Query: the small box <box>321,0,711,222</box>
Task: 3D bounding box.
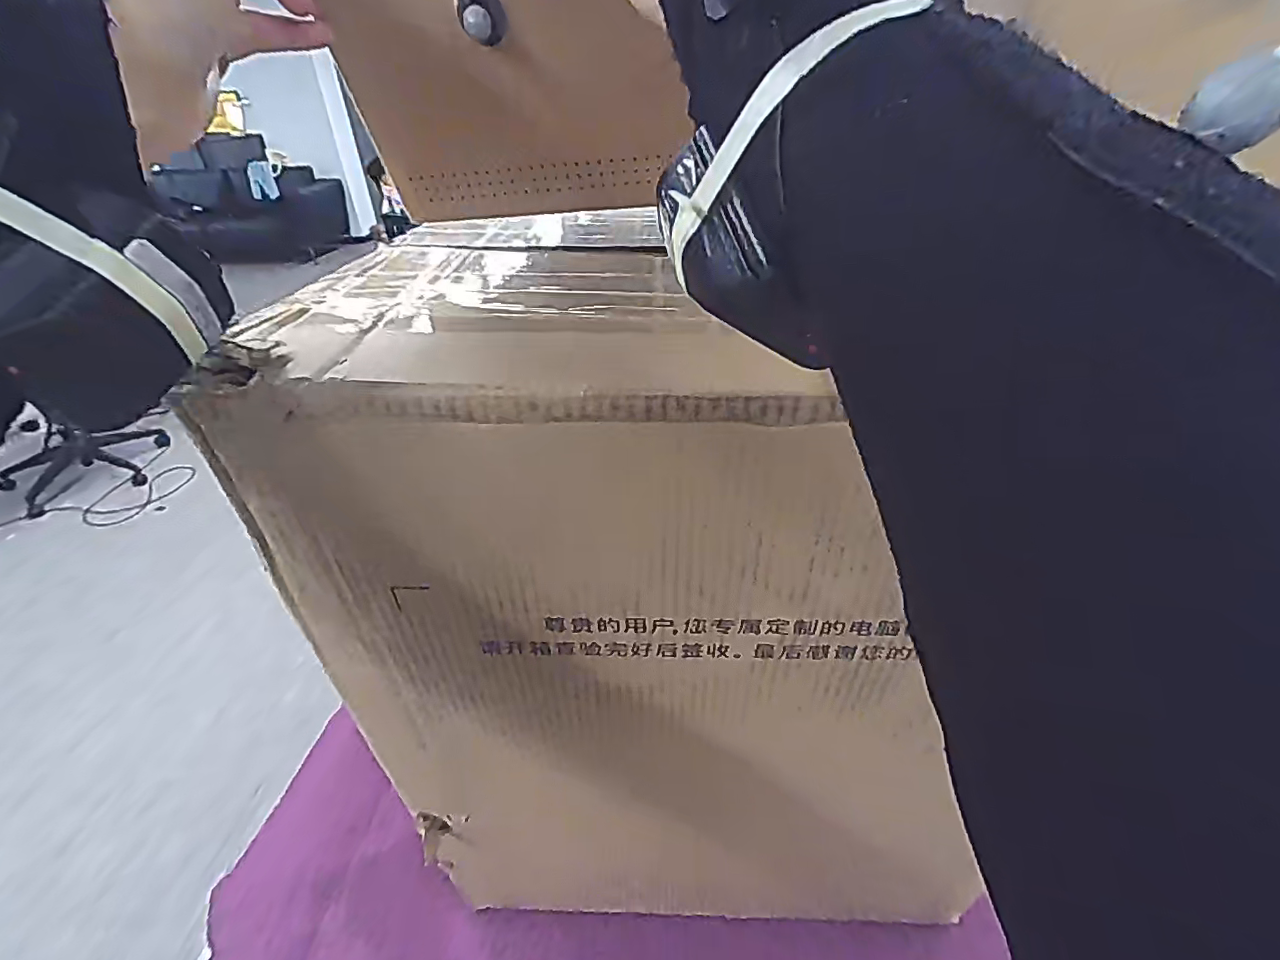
[{"bbox_3d":[-0.049,-0.266,0.296,0.179,0.176,0.168,-1,55,8],"label":"small box"}]
